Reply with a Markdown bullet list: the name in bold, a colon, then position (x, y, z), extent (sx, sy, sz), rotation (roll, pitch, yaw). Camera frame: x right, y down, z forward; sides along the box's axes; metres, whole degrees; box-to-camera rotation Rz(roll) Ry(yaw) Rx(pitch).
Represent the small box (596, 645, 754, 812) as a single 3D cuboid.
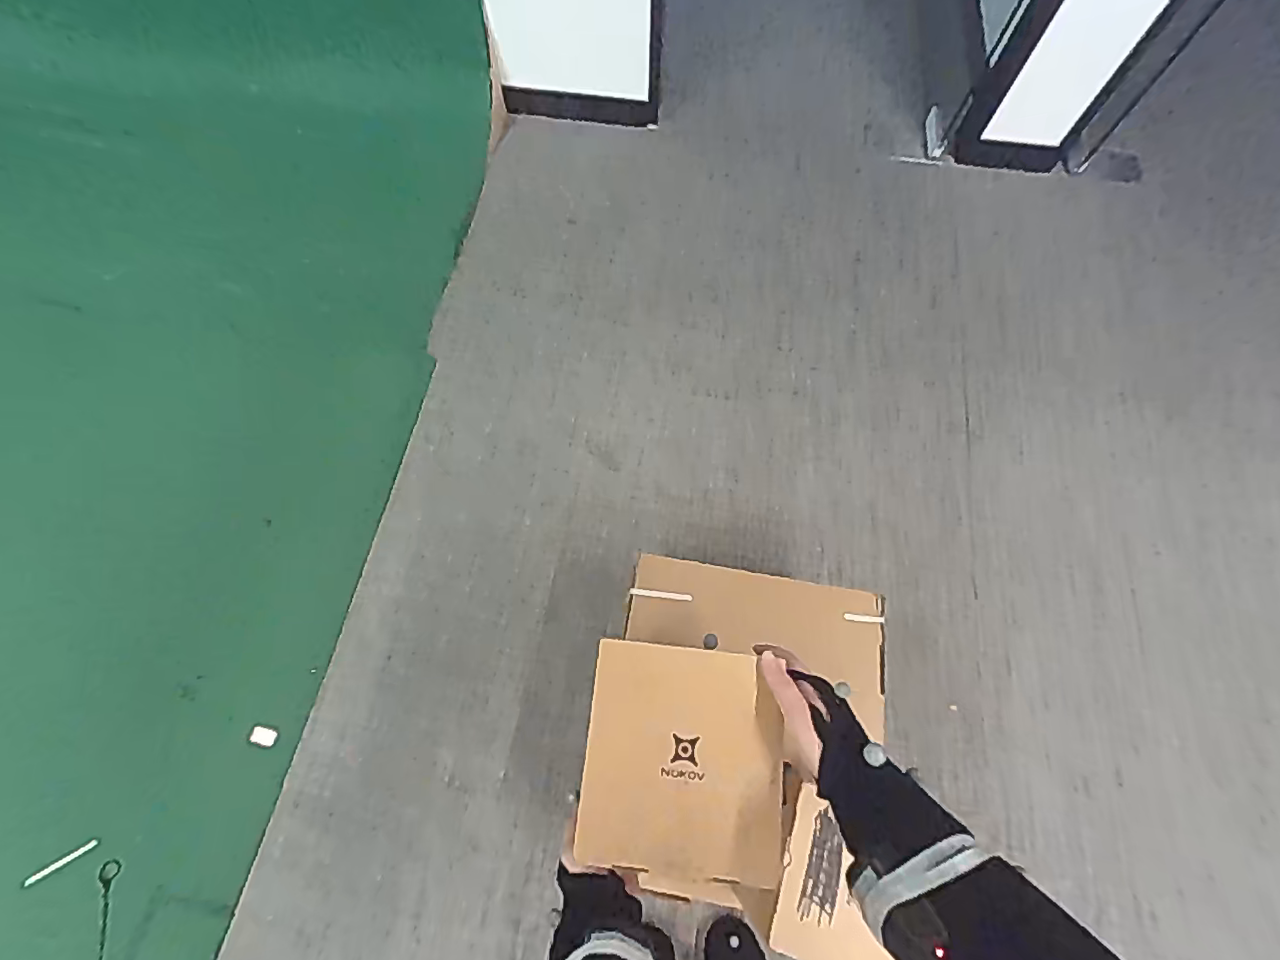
- **small box**: position (0.045, 0.326, 0.727), extent (0.179, 0.176, 0.168), rotation (8, 67, 3)
